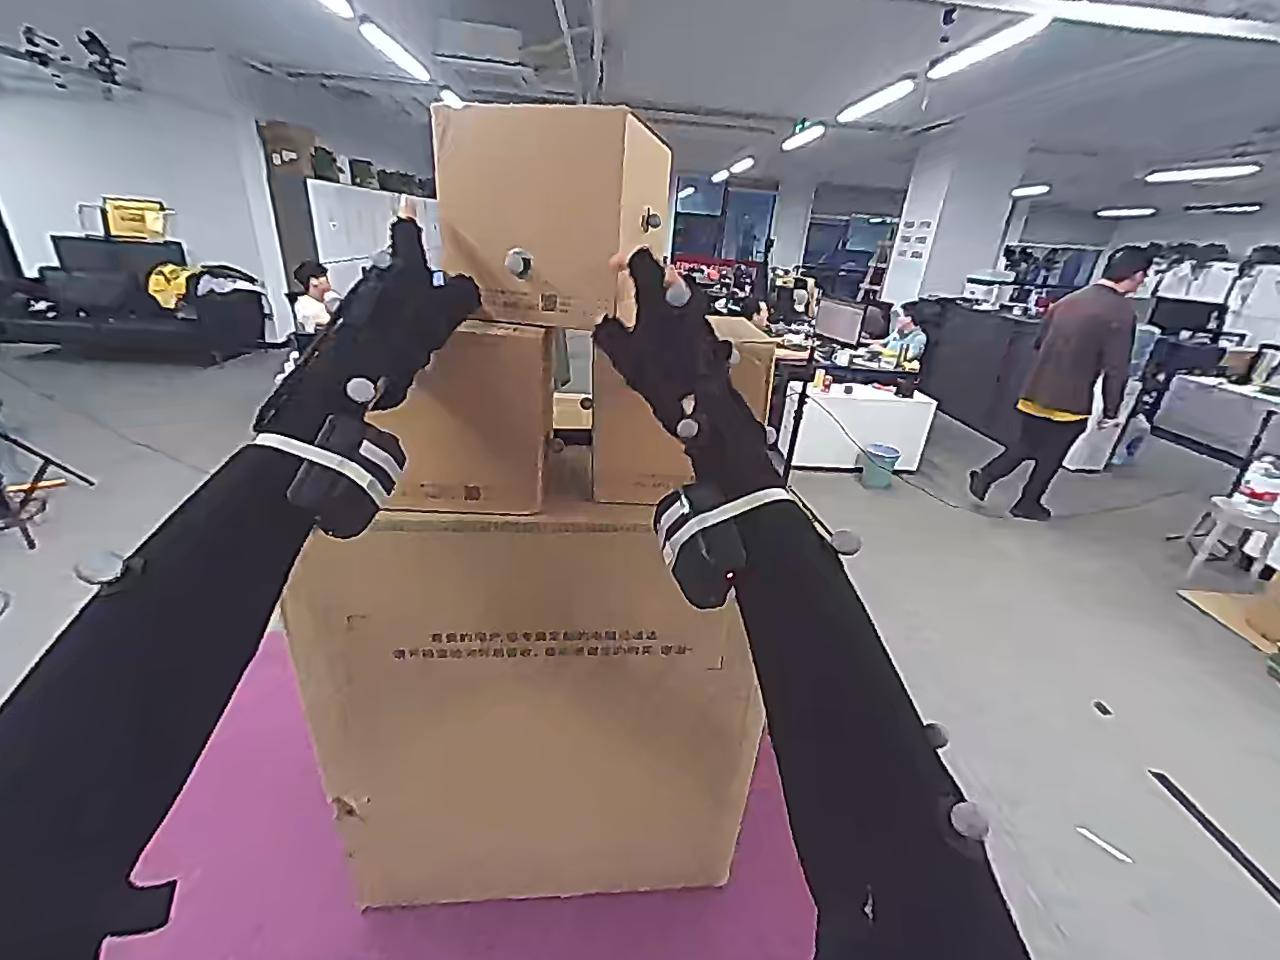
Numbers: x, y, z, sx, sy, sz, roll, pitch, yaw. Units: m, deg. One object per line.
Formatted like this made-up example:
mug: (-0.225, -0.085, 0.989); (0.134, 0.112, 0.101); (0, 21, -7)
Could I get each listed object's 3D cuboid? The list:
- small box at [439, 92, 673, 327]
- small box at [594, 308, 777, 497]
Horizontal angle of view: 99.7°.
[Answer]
small box: (-0.071, -0.250, 0.522); (0.168, 0.176, 0.179); (9, 24, 12)
small box: (0.038, -0.090, 0.584); (0.168, 0.176, 0.179); (3, 23, -2)
